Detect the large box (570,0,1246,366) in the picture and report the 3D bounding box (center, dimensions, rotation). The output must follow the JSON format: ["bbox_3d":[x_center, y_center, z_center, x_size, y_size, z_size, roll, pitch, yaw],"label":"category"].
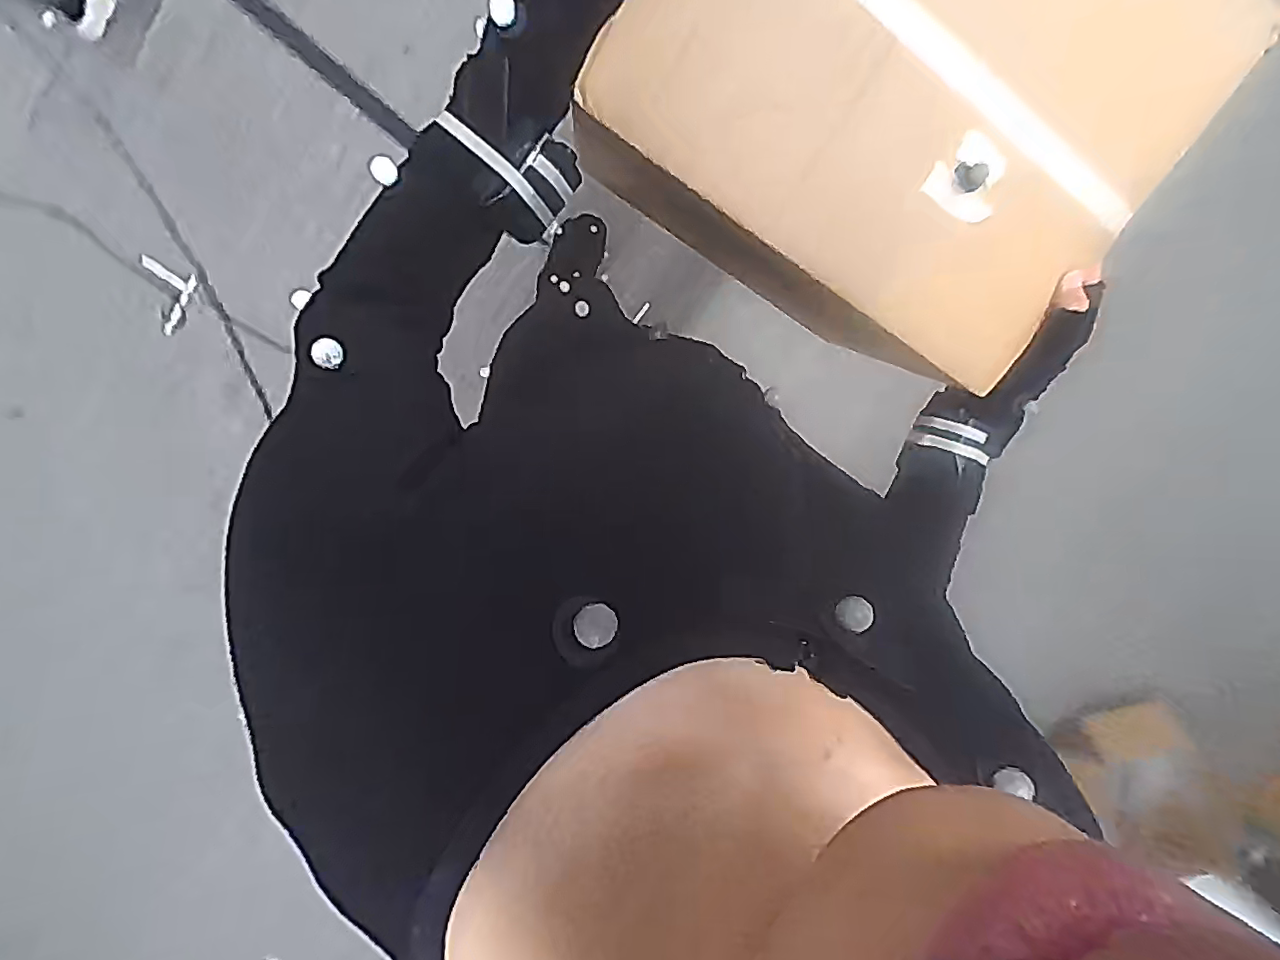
[{"bbox_3d":[0.176,-0.359,0.512,0.408,0.320,0.320,26,108,-16],"label":"large box"}]
